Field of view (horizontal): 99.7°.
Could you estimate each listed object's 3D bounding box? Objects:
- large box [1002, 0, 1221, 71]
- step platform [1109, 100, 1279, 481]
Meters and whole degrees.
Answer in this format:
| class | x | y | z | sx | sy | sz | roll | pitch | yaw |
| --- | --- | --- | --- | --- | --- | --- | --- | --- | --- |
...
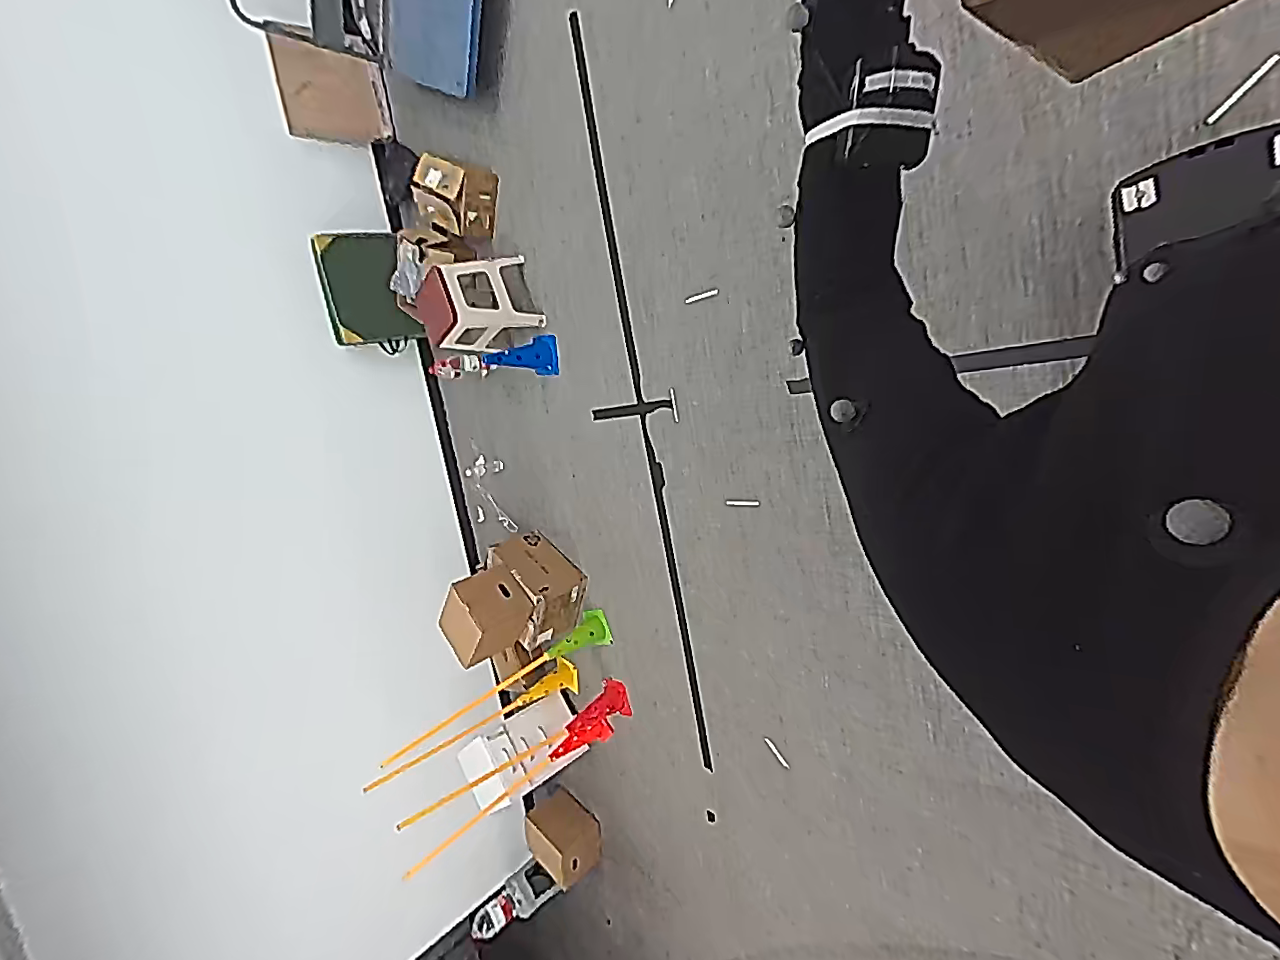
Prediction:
| class | x | y | z | sx | sy | sz | roll | pitch | yaw |
| --- | --- | --- | --- | --- | --- | --- | --- | --- | --- |
| large box | 0.413 | -0.522 | 0.278 | 0.408 | 0.320 | 0.320 | -7 | 102 | 50 |
| step platform | 1.140 | -0.339 | 1.063 | 0.286 | 0.204 | 0.684 | -4 | 98 | 47 |
